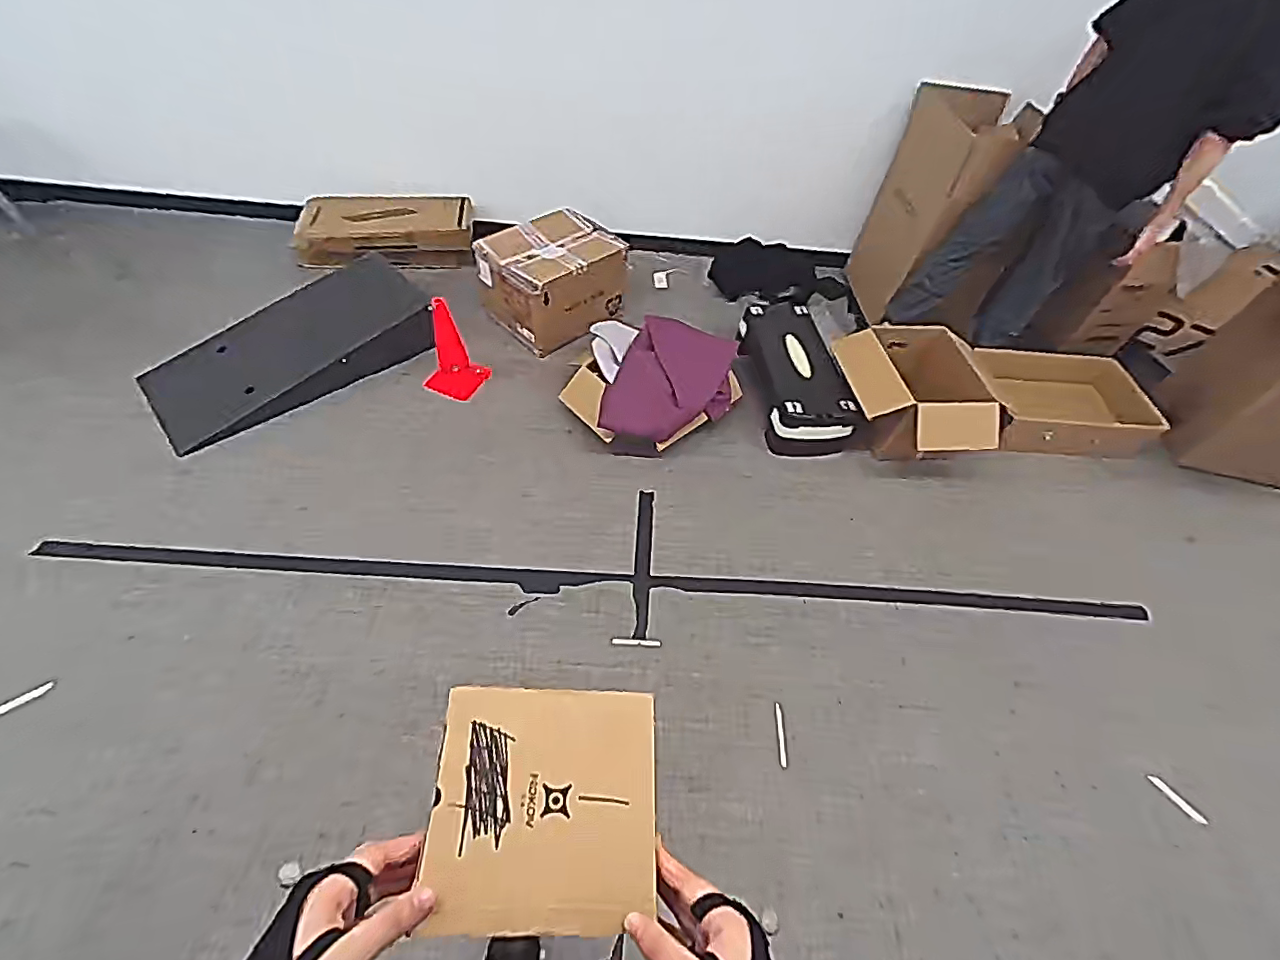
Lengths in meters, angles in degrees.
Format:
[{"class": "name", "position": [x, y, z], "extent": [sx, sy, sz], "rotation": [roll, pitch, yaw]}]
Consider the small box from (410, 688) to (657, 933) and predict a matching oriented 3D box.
[{"class": "small box", "position": [-0.082, 0.296, 0.489], "extent": [0.179, 0.176, 0.168], "rotation": [4, 55, -7]}]
